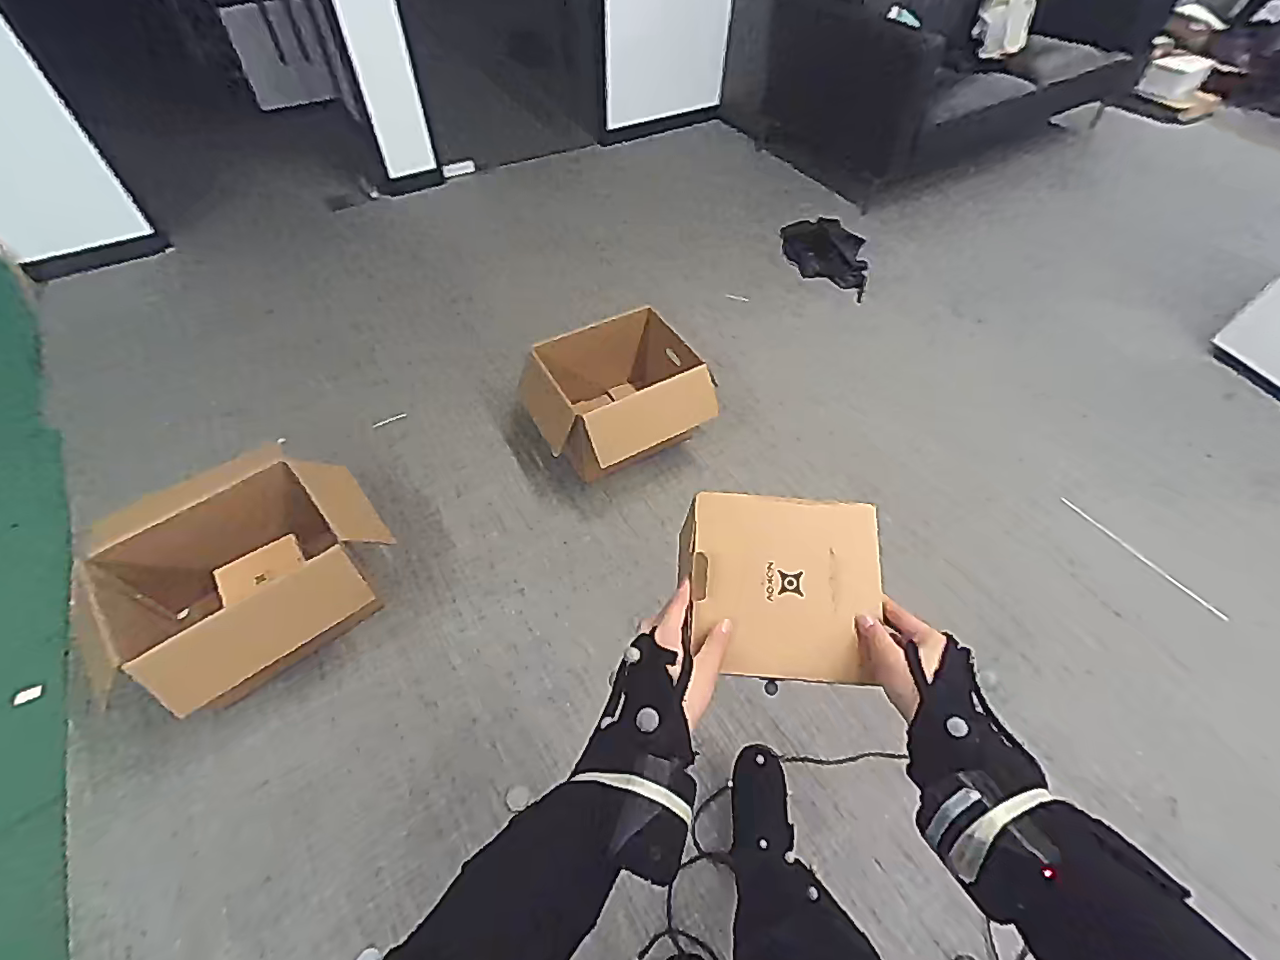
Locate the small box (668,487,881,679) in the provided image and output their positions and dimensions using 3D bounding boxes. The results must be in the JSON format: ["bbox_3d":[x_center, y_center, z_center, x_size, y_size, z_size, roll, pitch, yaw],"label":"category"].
[{"bbox_3d":[0.124,0.115,0.564,0.179,0.176,0.168,4,71,-1],"label":"small box"}]
